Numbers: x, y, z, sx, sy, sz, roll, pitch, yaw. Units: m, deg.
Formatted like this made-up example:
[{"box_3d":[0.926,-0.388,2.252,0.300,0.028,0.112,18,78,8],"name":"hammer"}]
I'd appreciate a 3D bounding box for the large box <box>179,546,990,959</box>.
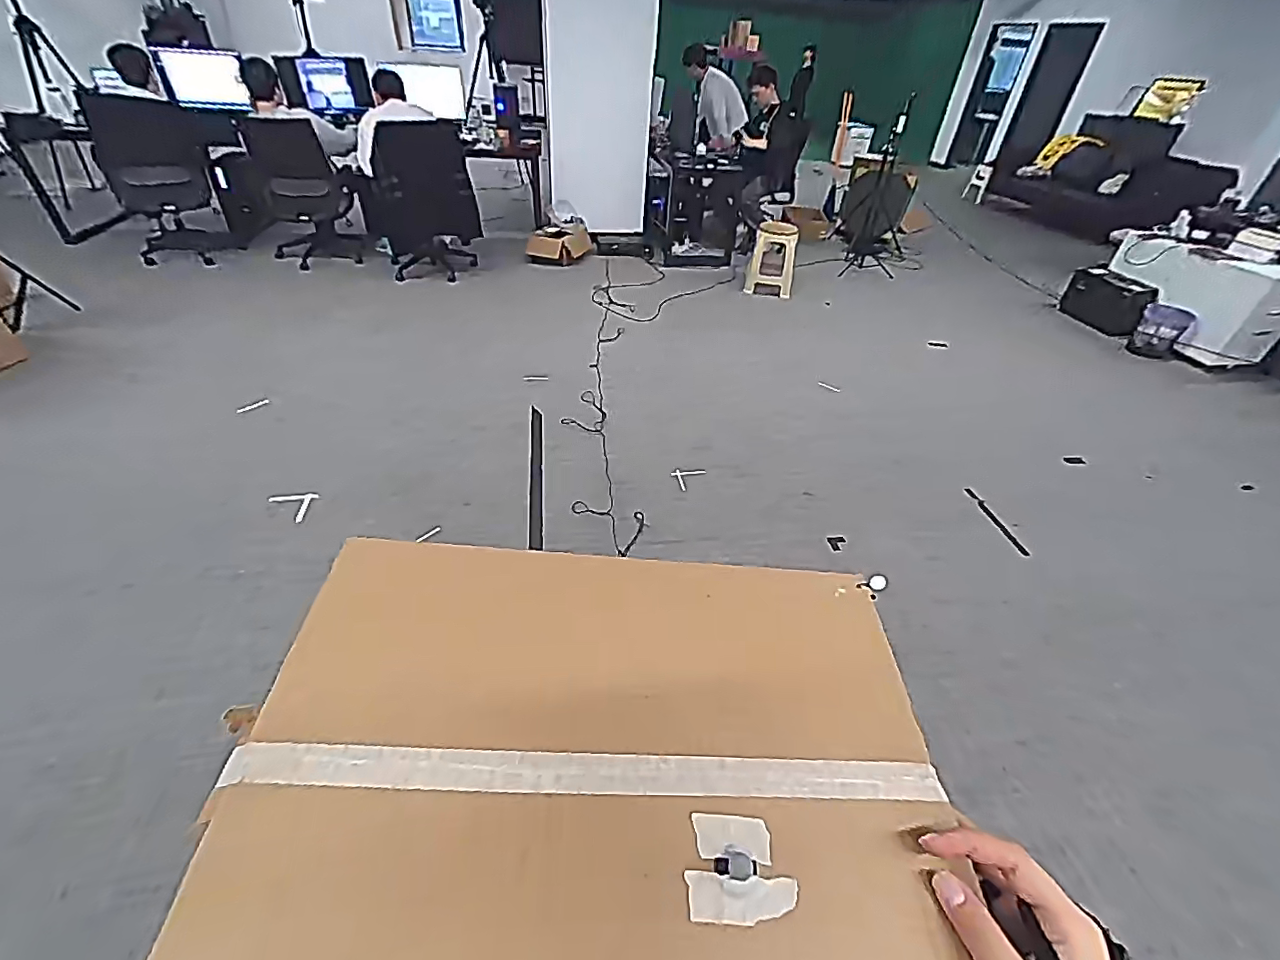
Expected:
[{"box_3d":[-0.036,0.279,0.427,0.408,0.320,0.320,6,46,-6],"name":"large box"}]
